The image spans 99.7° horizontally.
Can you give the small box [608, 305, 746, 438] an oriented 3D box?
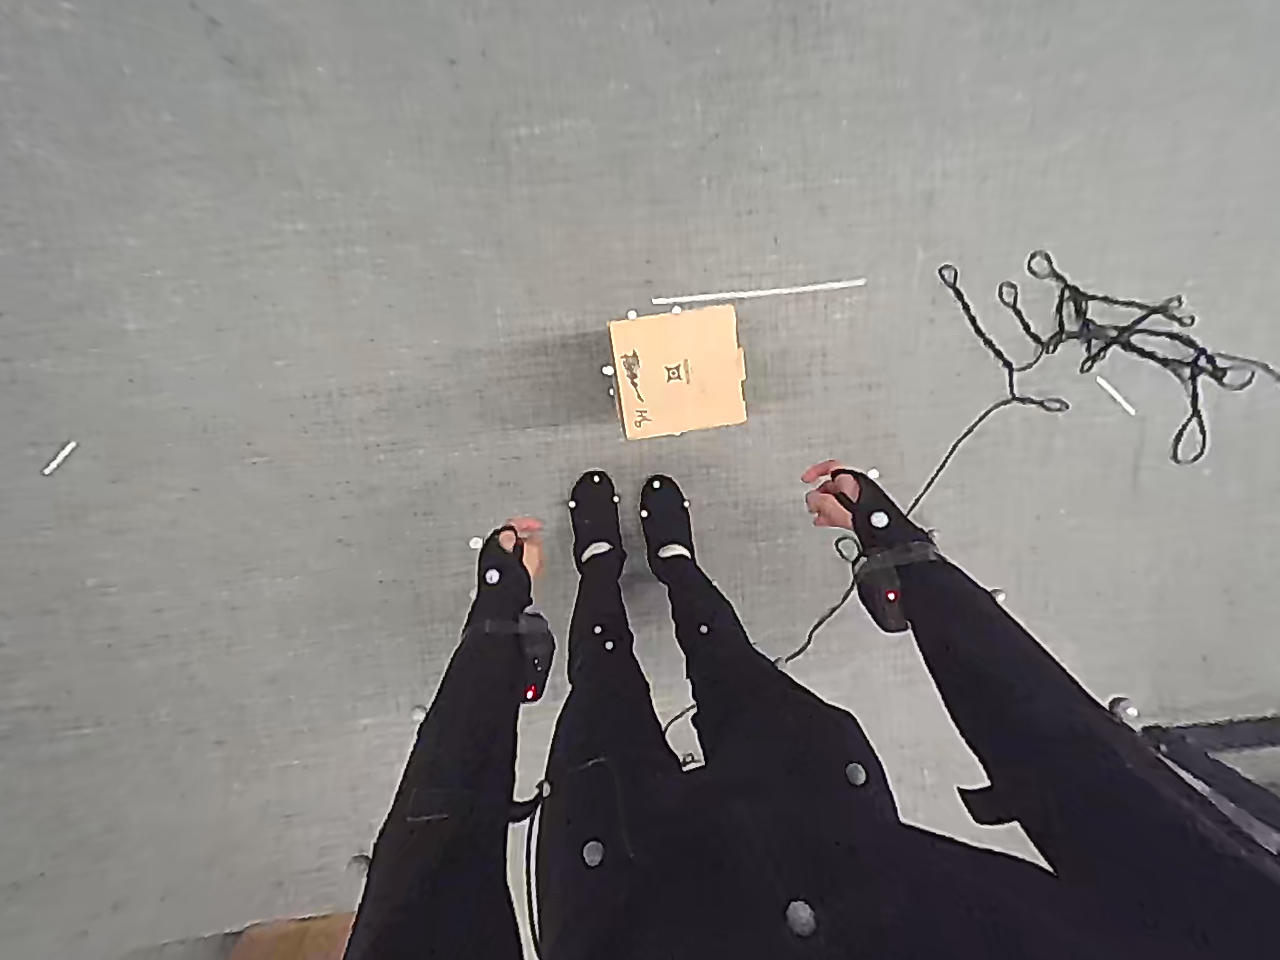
[{"bbox_3d":[0.048,-0.163,0.826,0.179,0.176,0.168,-9,100,-2],"label":"small box"}]
